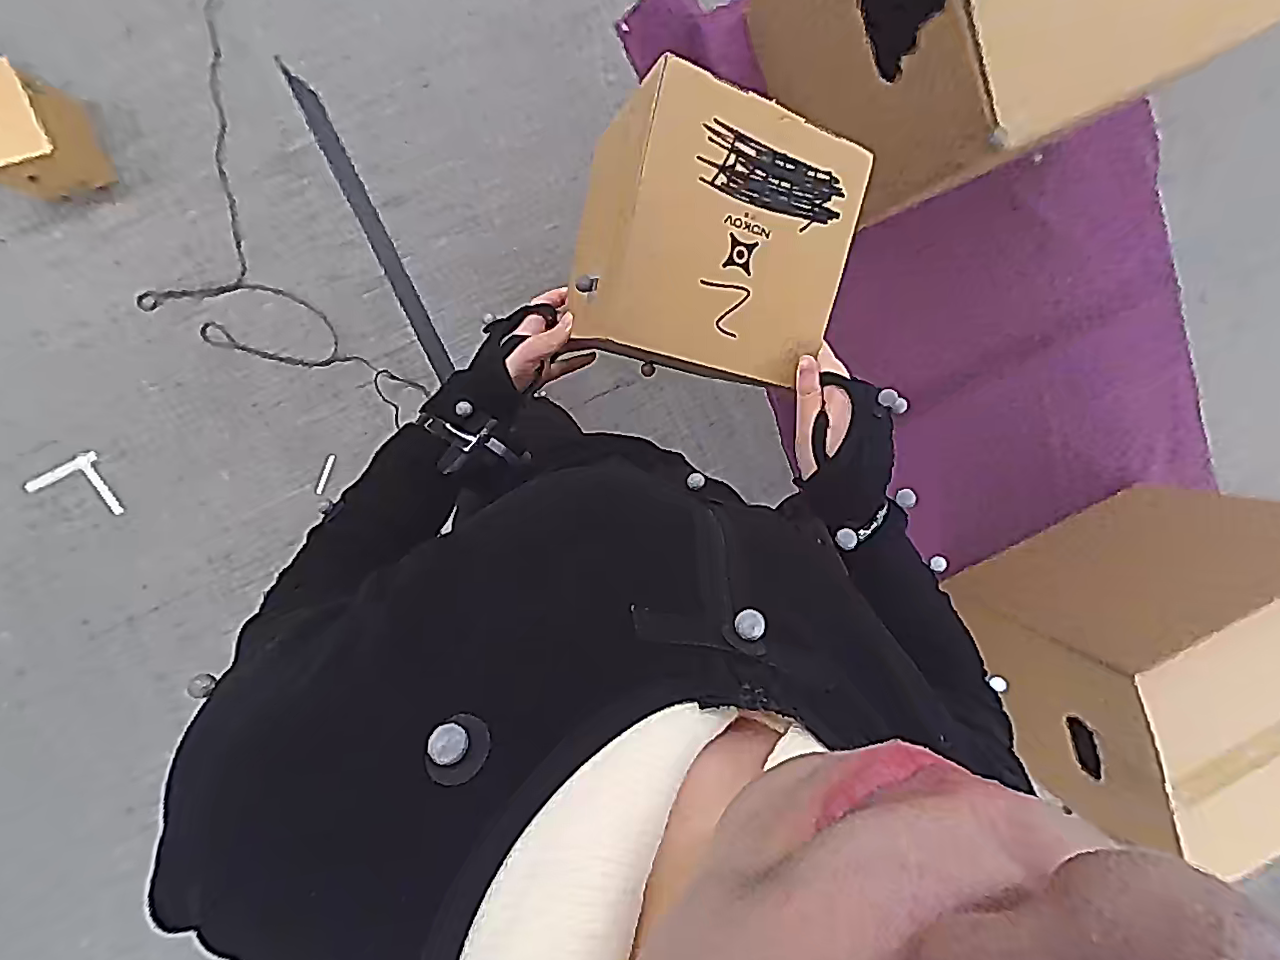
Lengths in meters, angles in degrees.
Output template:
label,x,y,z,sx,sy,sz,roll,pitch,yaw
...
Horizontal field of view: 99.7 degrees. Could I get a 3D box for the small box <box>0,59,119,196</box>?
label,x,y,z,sx,sy,sz,roll,pitch,yaw
small box,-1.258,-0.714,1.122,0.168,0.176,0.179,-19,101,-5
